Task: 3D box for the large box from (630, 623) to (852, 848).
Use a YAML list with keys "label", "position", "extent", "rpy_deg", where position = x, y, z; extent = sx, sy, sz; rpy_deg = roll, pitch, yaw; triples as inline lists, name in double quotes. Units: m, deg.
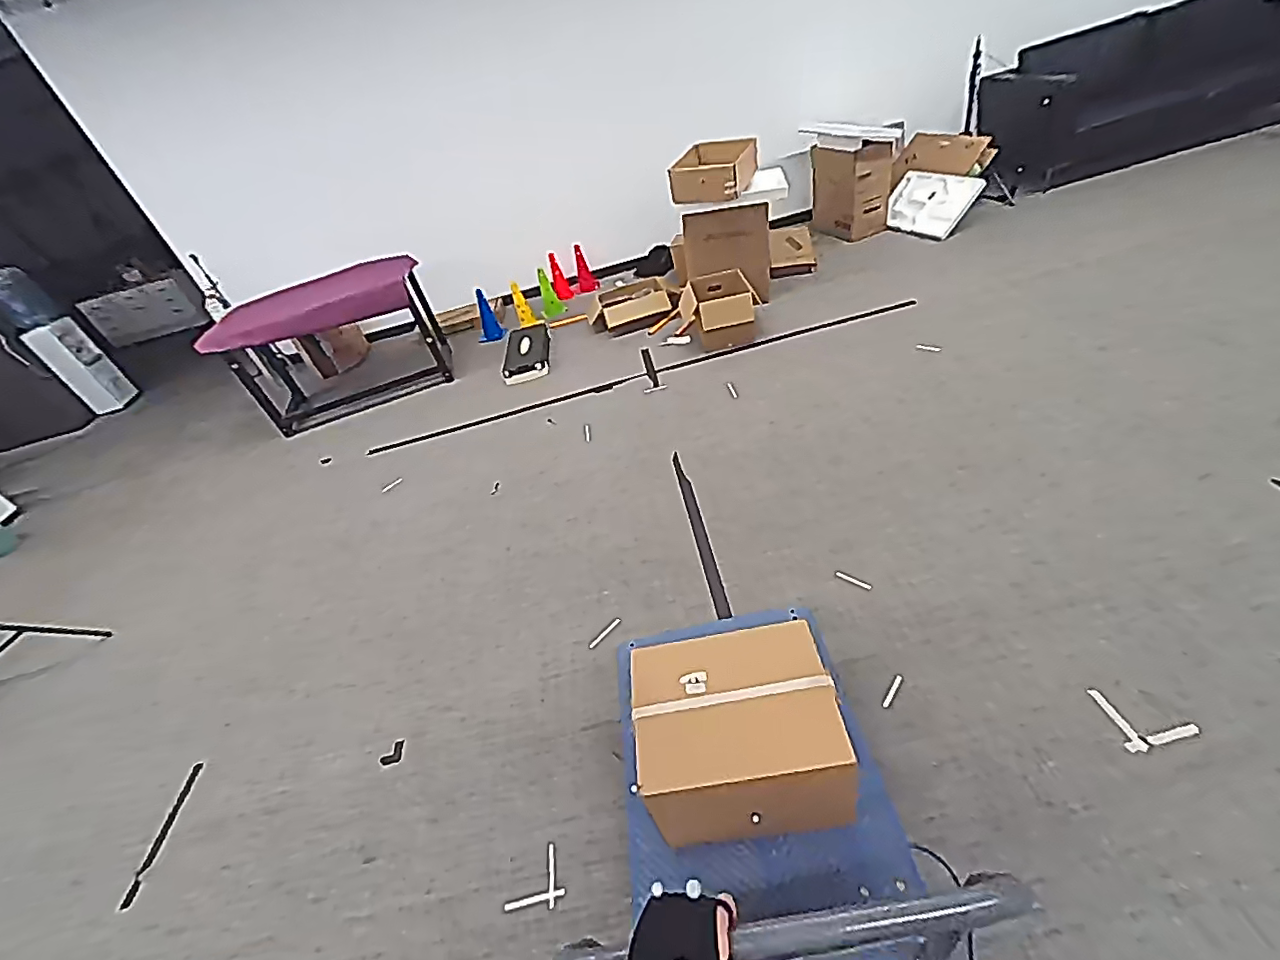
- label: "large box"
  position: [0.217, 0.570, 1.203]
  extent: [0.408, 0.320, 0.320]
  rpy_deg: [-13, 37, 6]
